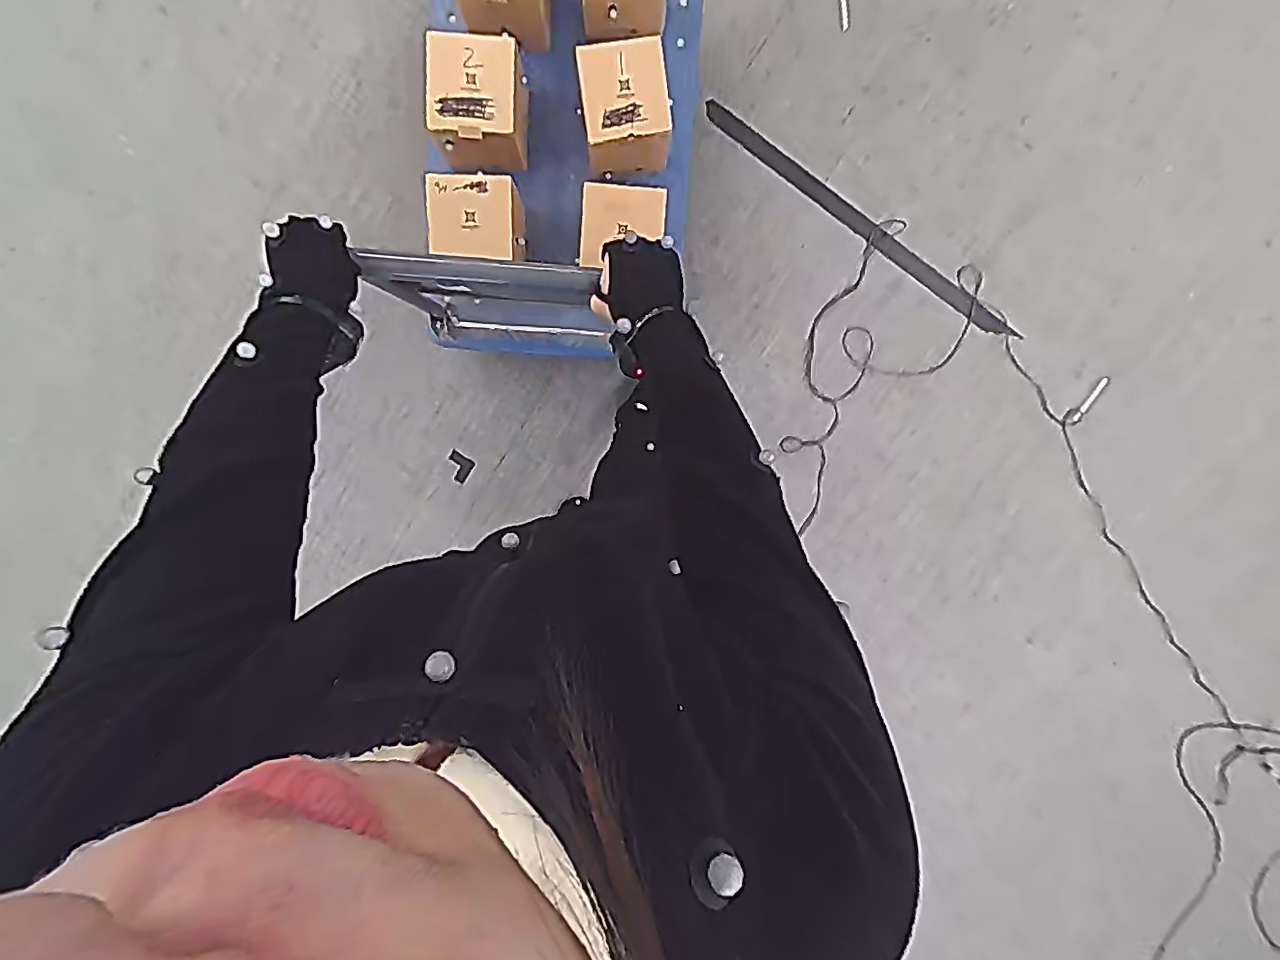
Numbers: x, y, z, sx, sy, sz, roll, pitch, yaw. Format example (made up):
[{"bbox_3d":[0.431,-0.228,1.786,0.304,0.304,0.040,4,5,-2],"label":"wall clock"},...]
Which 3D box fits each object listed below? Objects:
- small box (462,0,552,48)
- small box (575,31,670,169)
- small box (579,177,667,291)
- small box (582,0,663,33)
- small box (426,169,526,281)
[{"bbox_3d":[-0.267,-1.013,1.070,0.168,0.176,0.179,5,98,-3],"label":"small box"},{"bbox_3d":[-0.034,-0.767,1.114,0.168,0.176,0.179,-9,97,-1],"label":"small box"},{"bbox_3d":[-0.037,-0.511,1.148,0.168,0.176,0.179,4,97,-4],"label":"small box"},{"bbox_3d":[-0.034,-1.037,1.080,0.168,0.176,0.179,0,97,-2],"label":"small box"},{"bbox_3d":[-0.334,-0.523,1.132,0.168,0.176,0.179,0,98,-3],"label":"small box"}]
